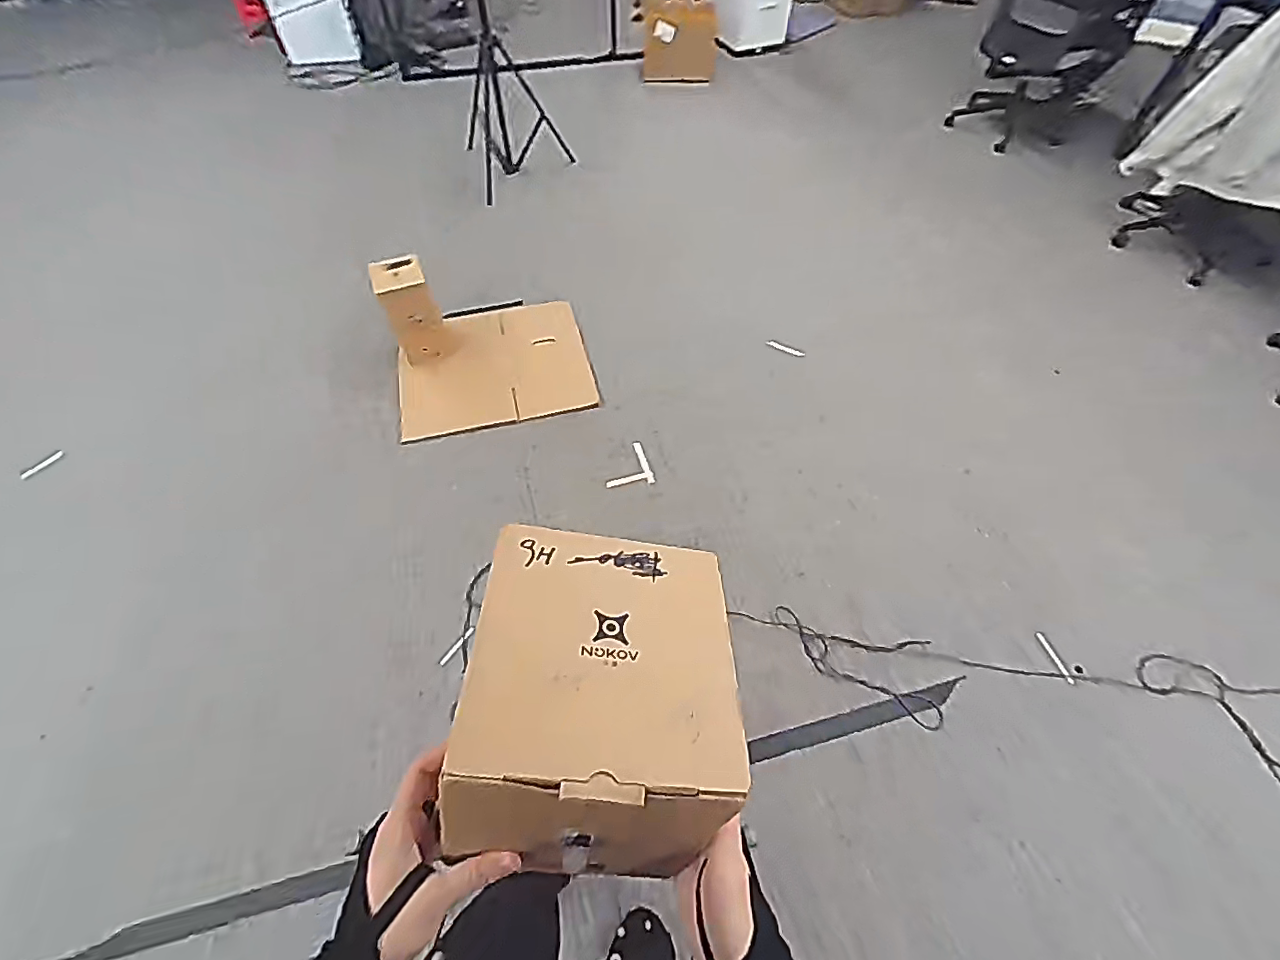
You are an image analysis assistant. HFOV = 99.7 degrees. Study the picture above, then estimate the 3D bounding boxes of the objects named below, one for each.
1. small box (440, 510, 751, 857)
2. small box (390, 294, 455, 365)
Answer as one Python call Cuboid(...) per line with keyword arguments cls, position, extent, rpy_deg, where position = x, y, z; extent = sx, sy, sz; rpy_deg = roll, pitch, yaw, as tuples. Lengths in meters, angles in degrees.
Cuboid(cls="small box", position=(-0.037, 0.151, 0.391), extent=(0.168, 0.176, 0.179), rpy_deg=(10, 42, -10))
Cuboid(cls="small box", position=(-0.817, -0.564, 2.034), extent=(0.168, 0.176, 0.179), rpy_deg=(-21, 58, -13))
